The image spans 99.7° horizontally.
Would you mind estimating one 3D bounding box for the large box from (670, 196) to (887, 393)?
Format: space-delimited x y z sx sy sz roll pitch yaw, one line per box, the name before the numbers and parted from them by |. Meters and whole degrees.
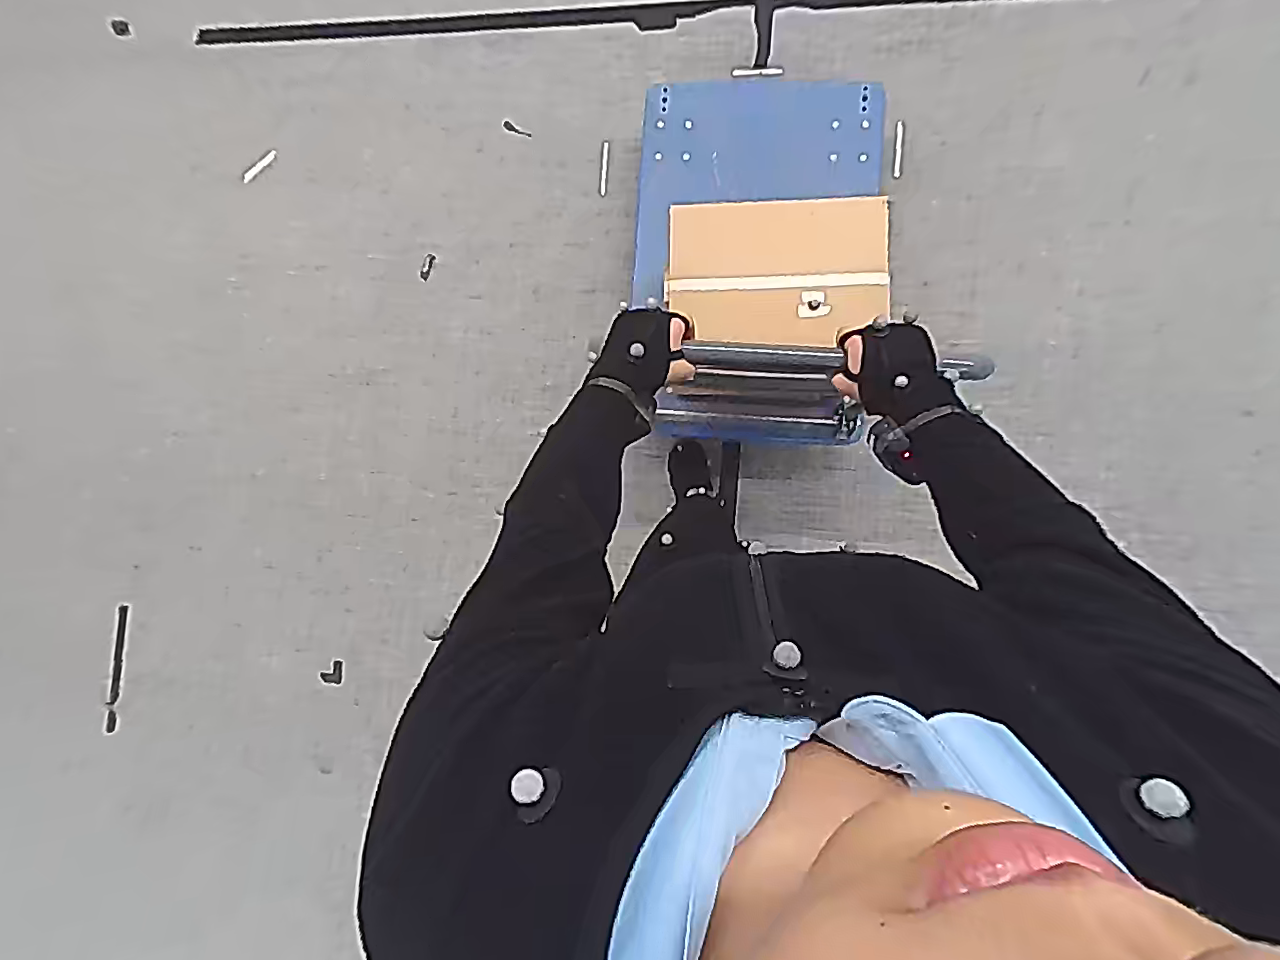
large box | 0.271 -0.373 1.172 0.408 0.320 0.320 0 89 5
